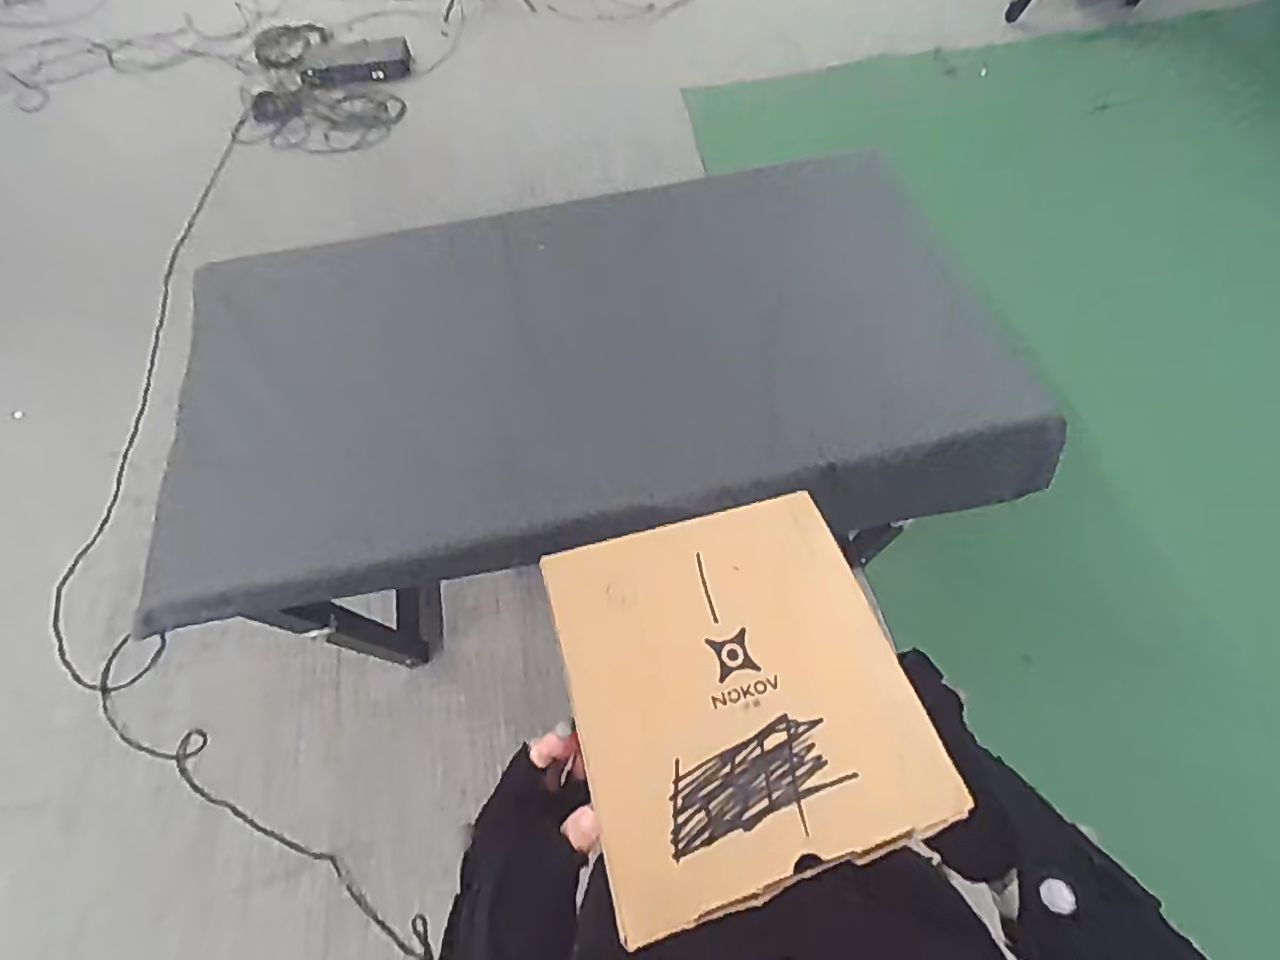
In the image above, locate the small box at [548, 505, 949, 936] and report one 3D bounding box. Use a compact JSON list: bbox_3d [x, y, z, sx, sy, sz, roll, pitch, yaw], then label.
[{"bbox_3d":[0.043,0.144,0.348,0.168,0.176,0.179,-12,60,-11],"label":"small box"}]
